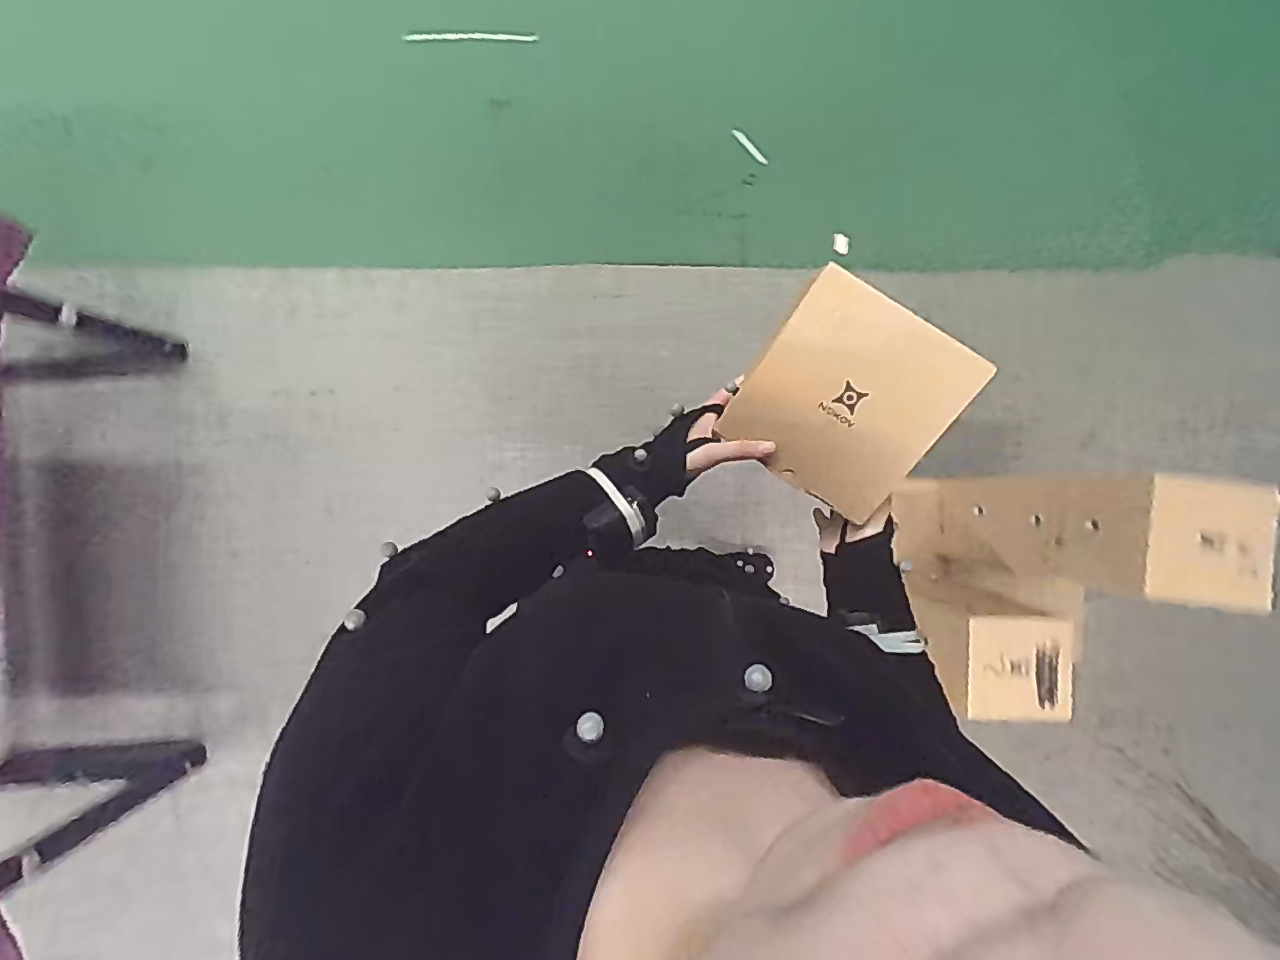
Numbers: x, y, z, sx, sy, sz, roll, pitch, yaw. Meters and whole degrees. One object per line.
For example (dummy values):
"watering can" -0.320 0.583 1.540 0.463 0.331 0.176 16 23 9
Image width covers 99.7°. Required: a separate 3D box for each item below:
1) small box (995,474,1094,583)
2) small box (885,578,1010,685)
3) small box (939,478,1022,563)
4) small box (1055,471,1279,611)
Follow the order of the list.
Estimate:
"small box" 0.760 0.087 0.954 0.168 0.176 0.179 1 86 -2
"small box" 0.623 0.305 1.113 0.168 0.176 0.179 1 89 -2
"small box" 0.758 0.083 1.122 0.179 0.176 0.168 3 88 -3
"small box" 0.758 0.083 0.791 0.179 0.176 0.168 8 88 -2
